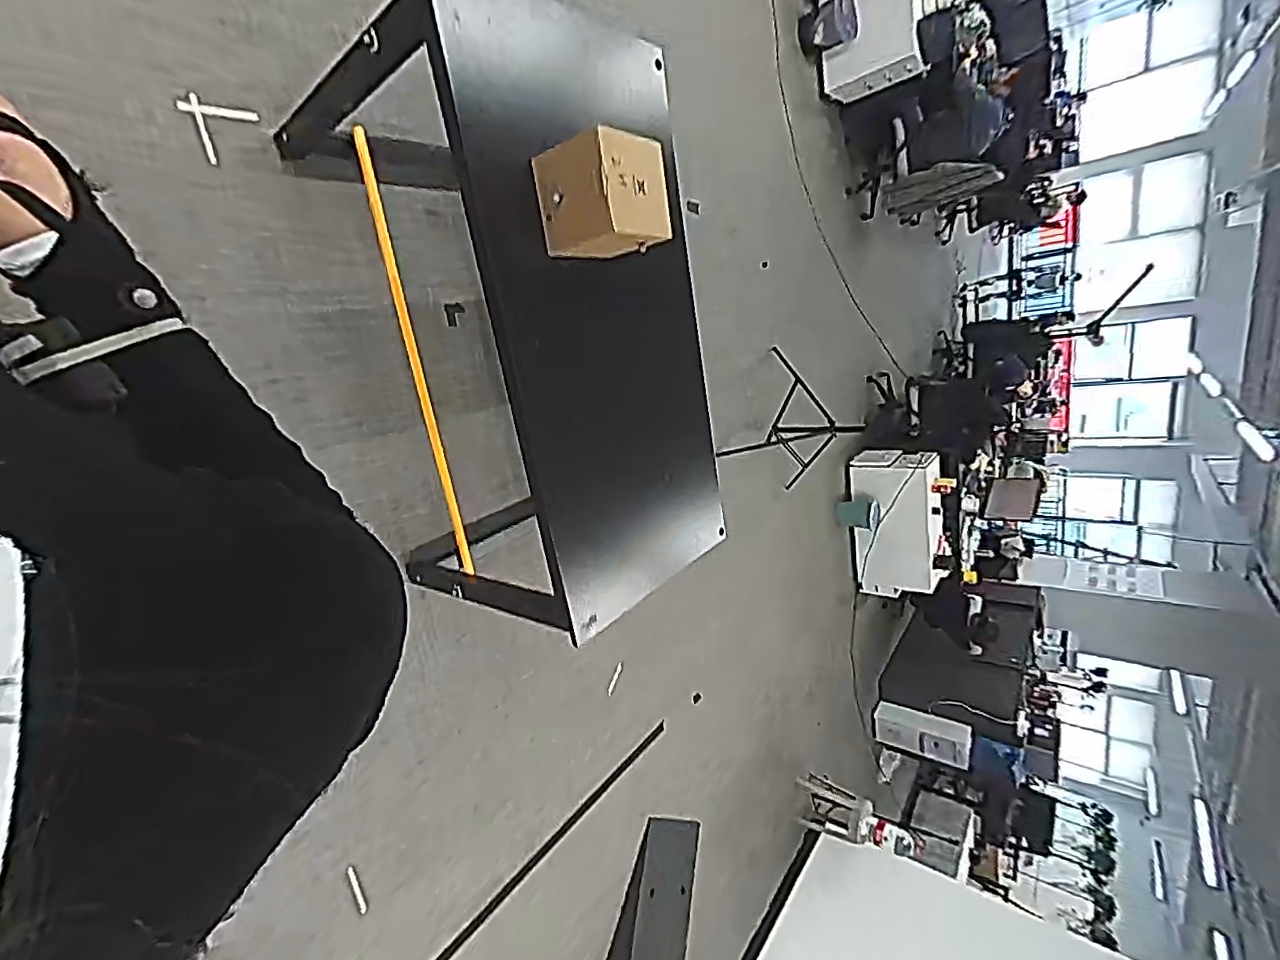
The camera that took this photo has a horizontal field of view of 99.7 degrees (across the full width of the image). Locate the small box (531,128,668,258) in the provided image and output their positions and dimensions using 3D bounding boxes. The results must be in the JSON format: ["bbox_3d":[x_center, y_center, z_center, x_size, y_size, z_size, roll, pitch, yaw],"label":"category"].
[{"bbox_3d":[-0.073,-0.518,1.005,0.179,0.176,0.168,-24,110,-47],"label":"small box"}]
